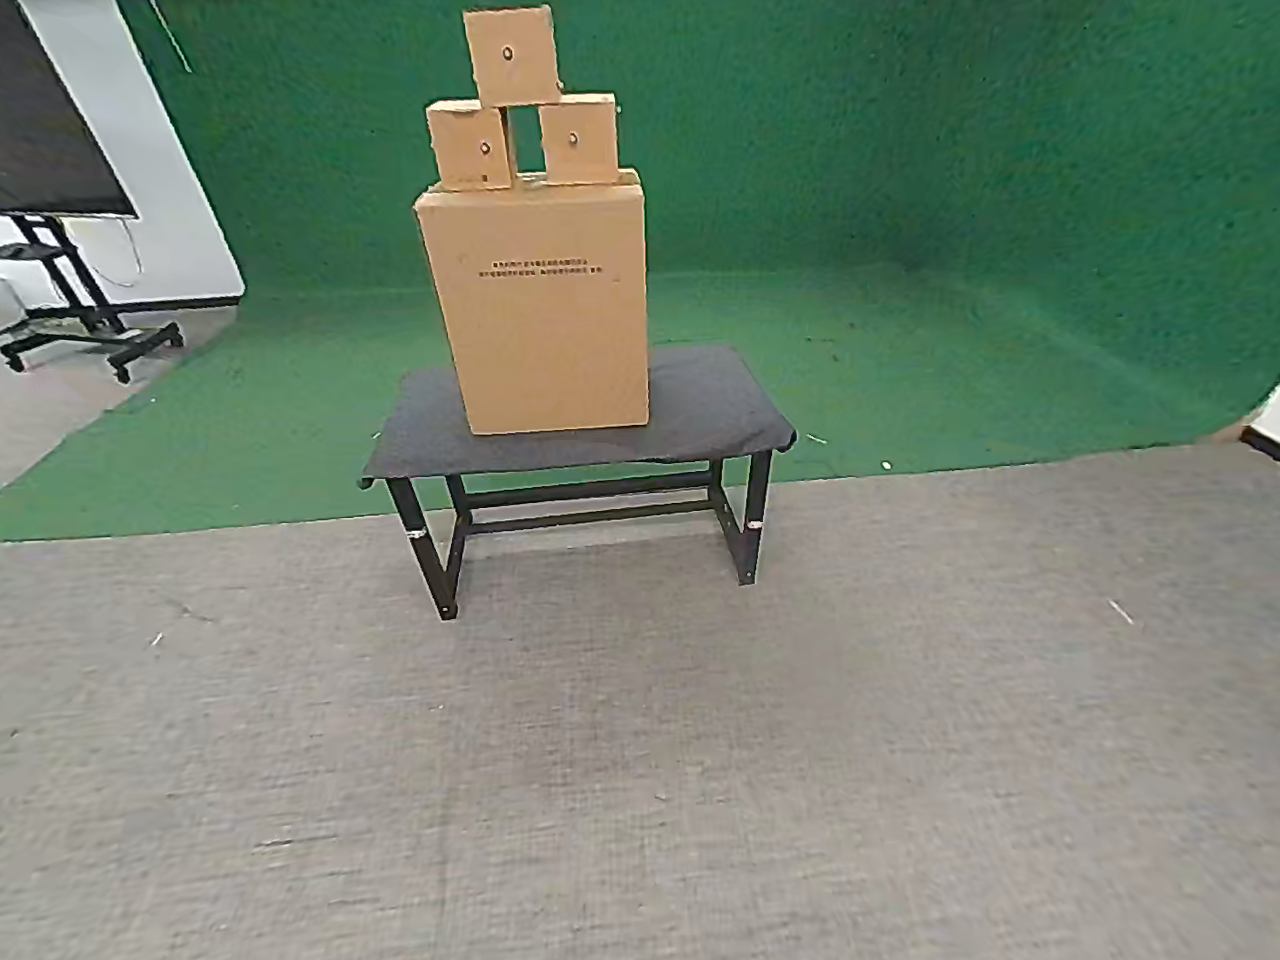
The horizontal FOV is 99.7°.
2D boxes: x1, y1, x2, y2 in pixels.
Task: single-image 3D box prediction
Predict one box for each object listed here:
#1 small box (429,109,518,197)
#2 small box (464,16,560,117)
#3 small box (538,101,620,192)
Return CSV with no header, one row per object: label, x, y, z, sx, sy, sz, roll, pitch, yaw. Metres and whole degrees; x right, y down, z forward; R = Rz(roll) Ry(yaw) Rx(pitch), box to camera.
small box,-0.401,-0.805,1.332,0.168,0.176,0.179,-3,39,-4
small box,-0.279,-0.942,1.231,0.179,0.176,0.168,-6,40,-1
small box,-0.145,-0.825,1.341,0.179,0.176,0.168,-4,41,-1
